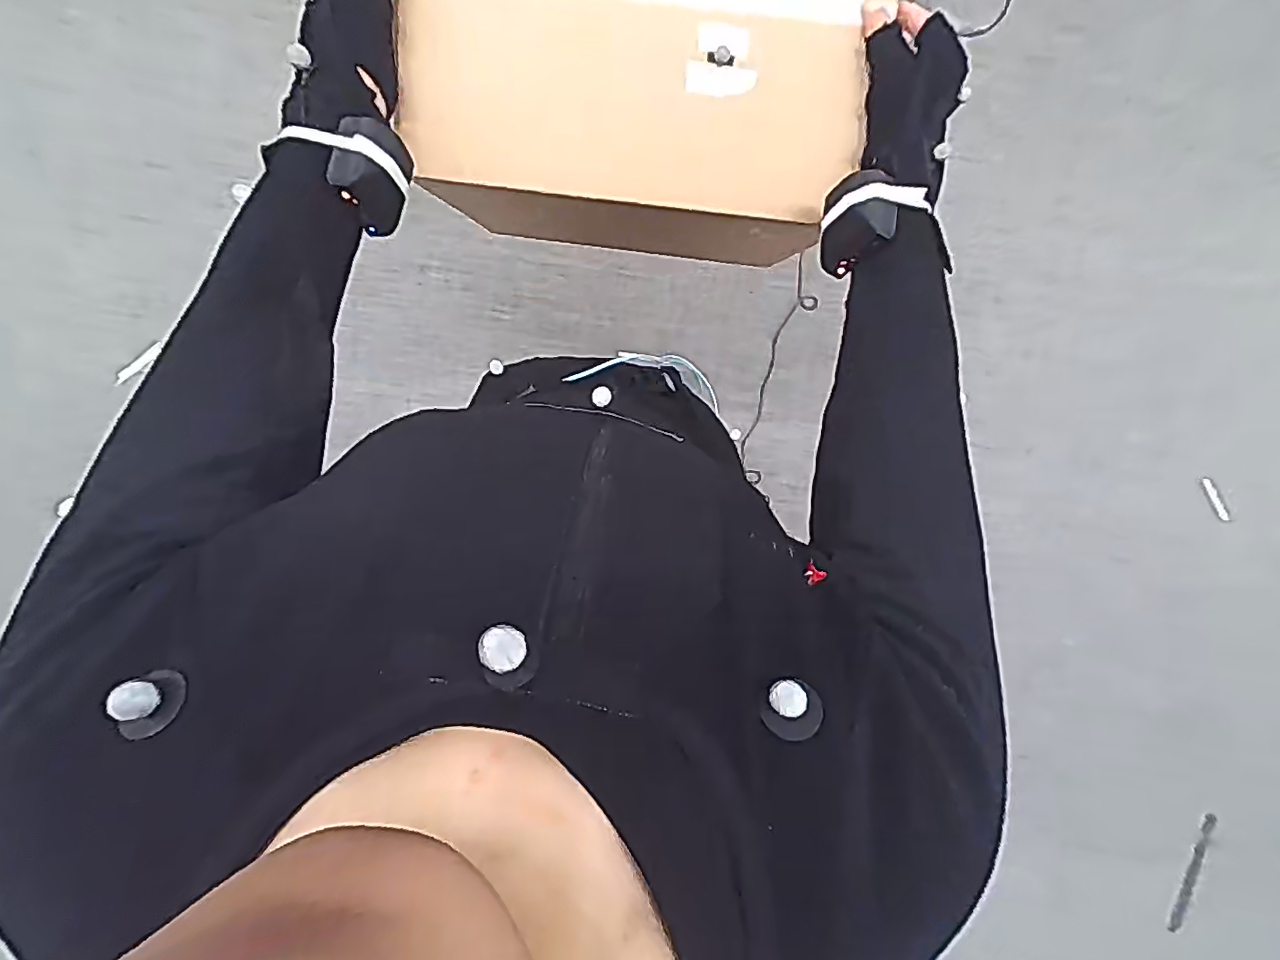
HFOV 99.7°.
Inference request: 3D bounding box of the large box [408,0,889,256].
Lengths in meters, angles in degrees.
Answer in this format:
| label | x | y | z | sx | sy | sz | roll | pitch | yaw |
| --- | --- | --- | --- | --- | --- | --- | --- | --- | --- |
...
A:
| label | x | y | z | sx | sy | sz | roll | pitch | yaw |
| --- | --- | --- | --- | --- | --- | --- | --- | --- | --- |
| large box | 0.005 | -0.443 | 0.588 | 0.408 | 0.320 | 0.320 | 5 | 106 | -2 |
